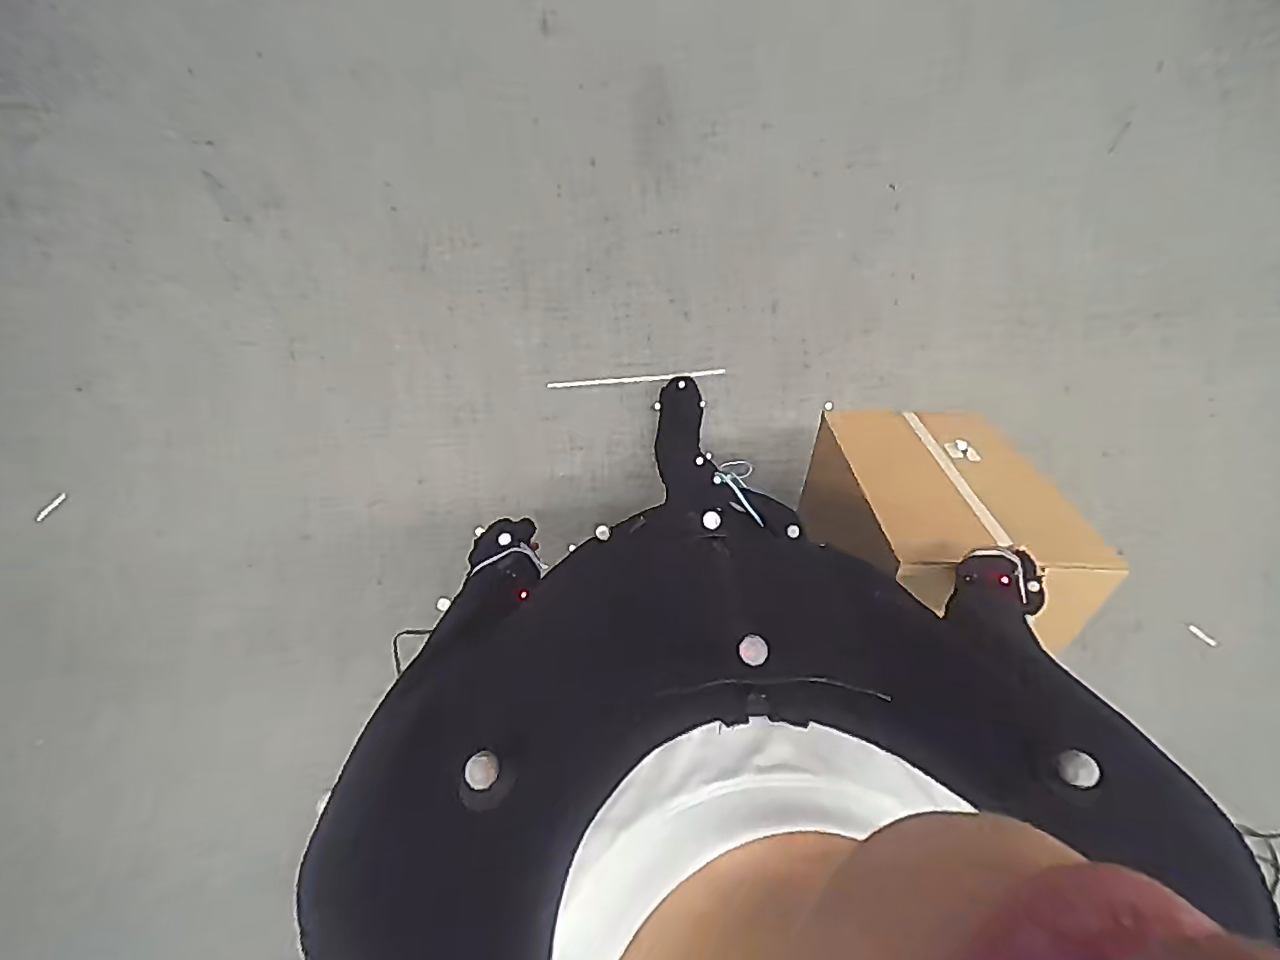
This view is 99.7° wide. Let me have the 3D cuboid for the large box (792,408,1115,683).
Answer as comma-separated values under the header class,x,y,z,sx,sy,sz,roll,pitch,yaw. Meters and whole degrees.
class,x,y,z,sx,sy,sz,roll,pitch,yaw
large box,0.494,0.106,0.977,0.320,0.408,0.320,3,126,-1
